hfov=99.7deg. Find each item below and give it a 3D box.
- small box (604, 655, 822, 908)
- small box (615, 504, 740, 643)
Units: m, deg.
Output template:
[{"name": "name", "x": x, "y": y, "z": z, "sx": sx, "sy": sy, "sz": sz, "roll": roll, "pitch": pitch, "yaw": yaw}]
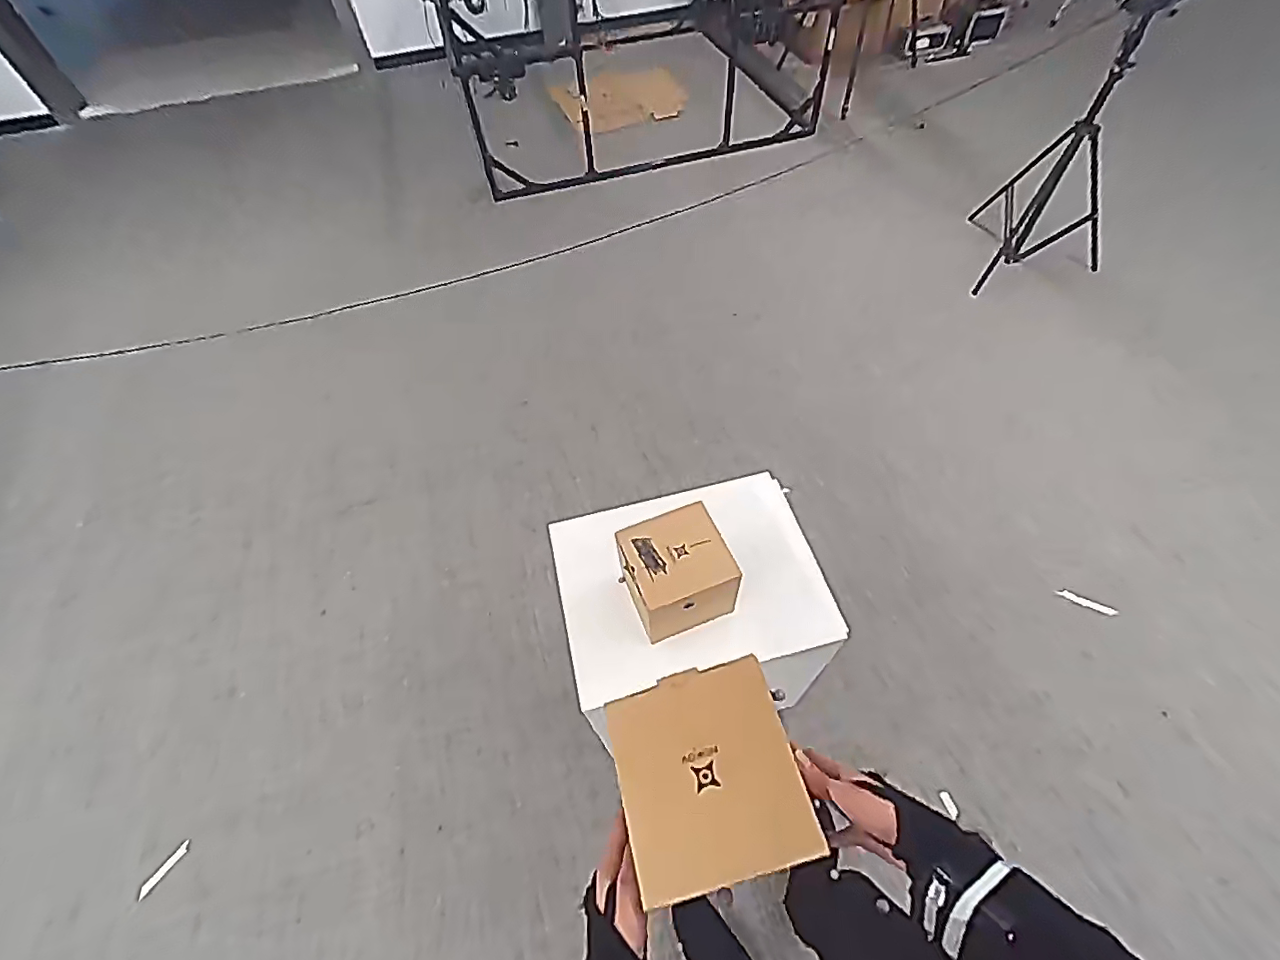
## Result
[{"name": "small box", "x": 0.078, "y": 0.313, "z": 0.566, "sx": 0.168, "sy": 0.176, "sz": 0.179, "roll": -20, "pitch": 52, "yaw": 3}, {"name": "small box", "x": 0.068, "y": 0.178, "z": 1.005, "sx": 0.179, "sy": 0.176, "sz": 0.168, "roll": -19, "pitch": 56, "yaw": -10}]
